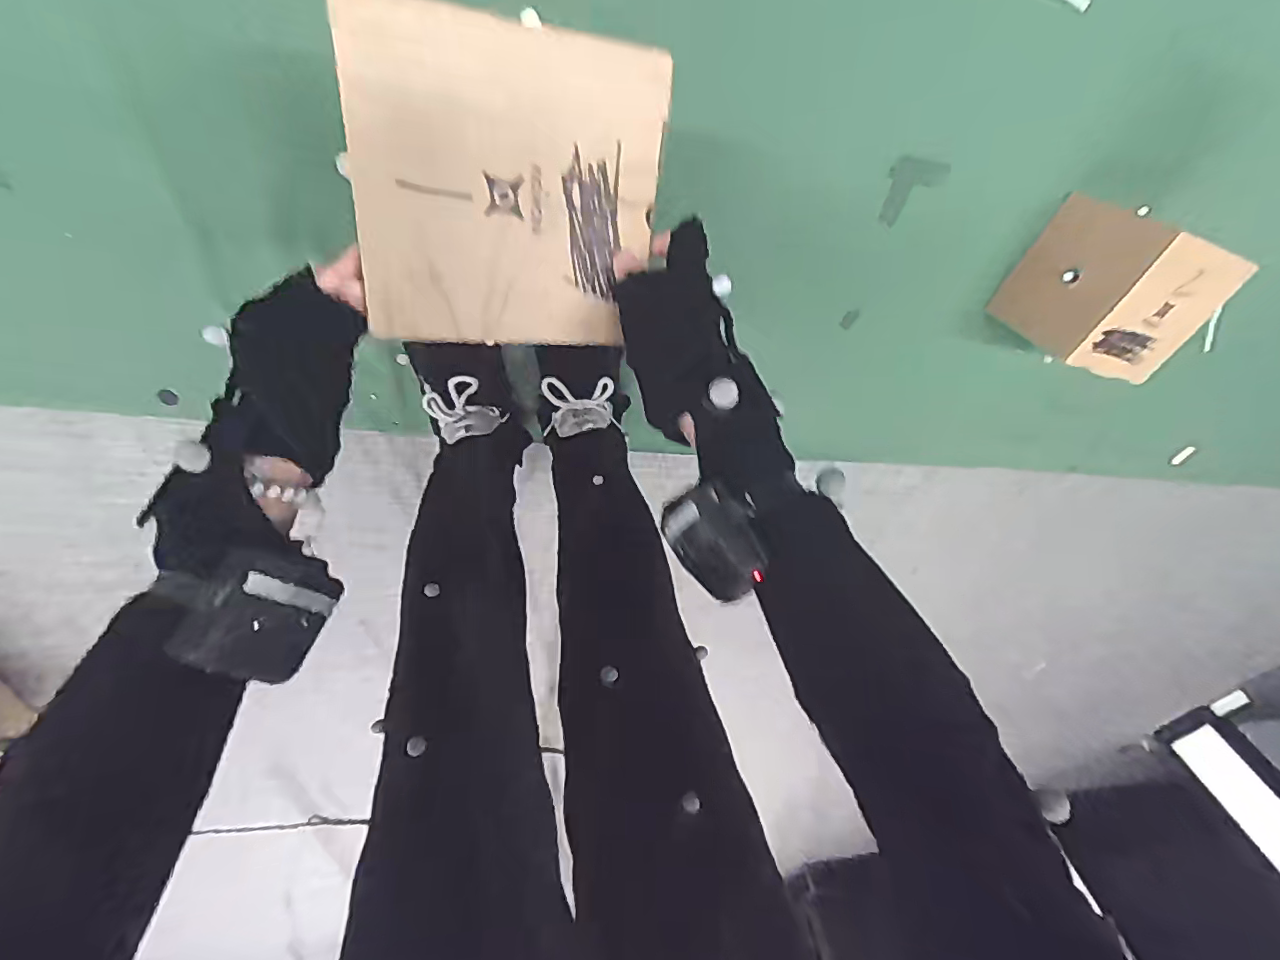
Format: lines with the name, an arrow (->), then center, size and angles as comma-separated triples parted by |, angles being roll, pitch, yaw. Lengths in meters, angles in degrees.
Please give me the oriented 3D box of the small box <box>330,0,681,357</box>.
small box -> -0.094, -0.190, 0.370 | 0.179, 0.176, 0.168 | -3, 119, -20
